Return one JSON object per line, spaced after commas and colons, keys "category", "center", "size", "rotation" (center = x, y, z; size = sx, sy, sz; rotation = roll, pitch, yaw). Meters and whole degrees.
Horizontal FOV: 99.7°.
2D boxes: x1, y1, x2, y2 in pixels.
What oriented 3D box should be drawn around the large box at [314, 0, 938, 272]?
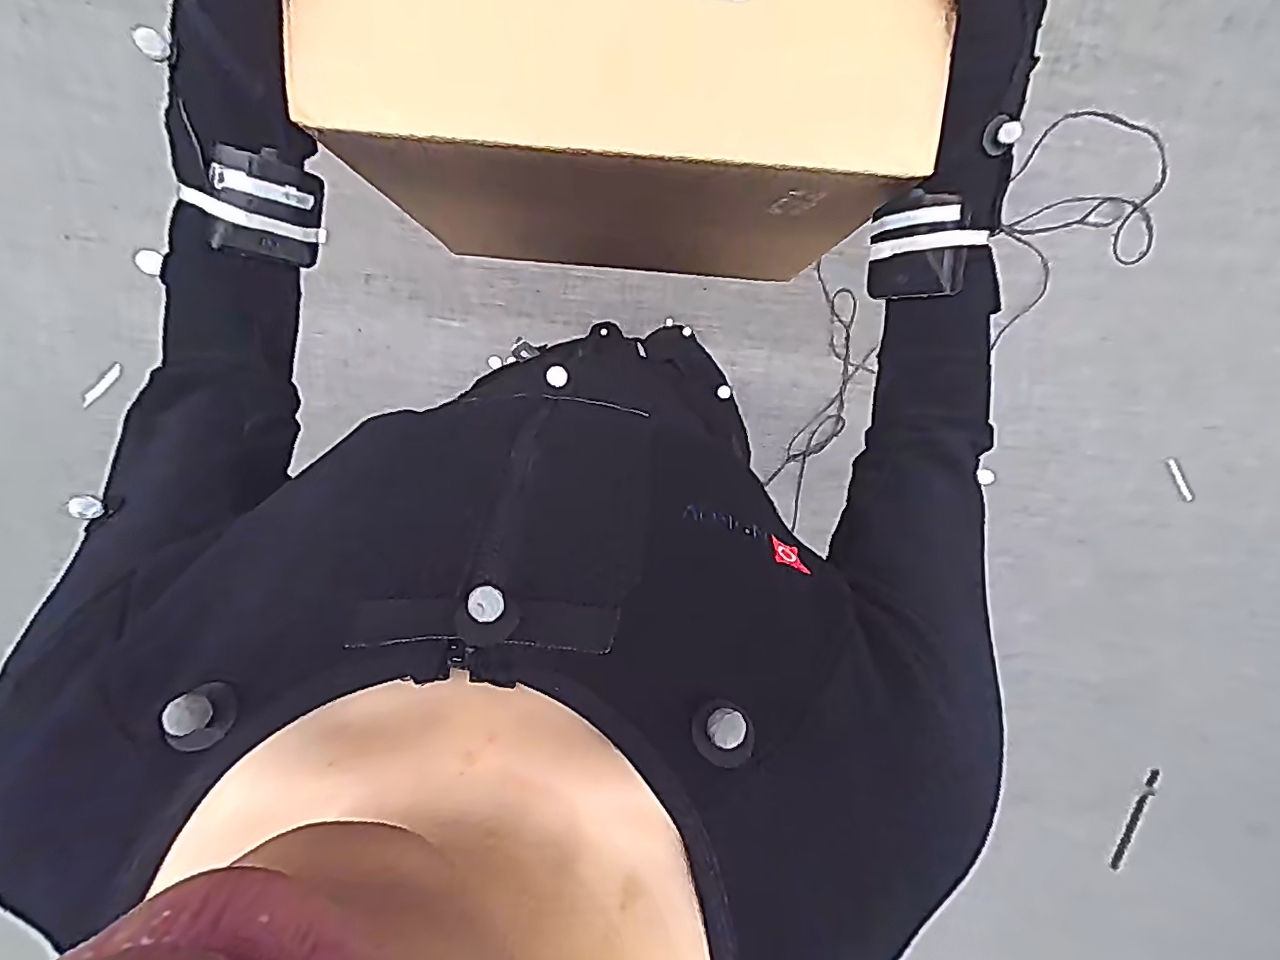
{"category": "large box", "center": [-0.007, -0.389, 0.482], "size": [0.408, 0.320, 0.320], "rotation": [3, 98, -2]}
